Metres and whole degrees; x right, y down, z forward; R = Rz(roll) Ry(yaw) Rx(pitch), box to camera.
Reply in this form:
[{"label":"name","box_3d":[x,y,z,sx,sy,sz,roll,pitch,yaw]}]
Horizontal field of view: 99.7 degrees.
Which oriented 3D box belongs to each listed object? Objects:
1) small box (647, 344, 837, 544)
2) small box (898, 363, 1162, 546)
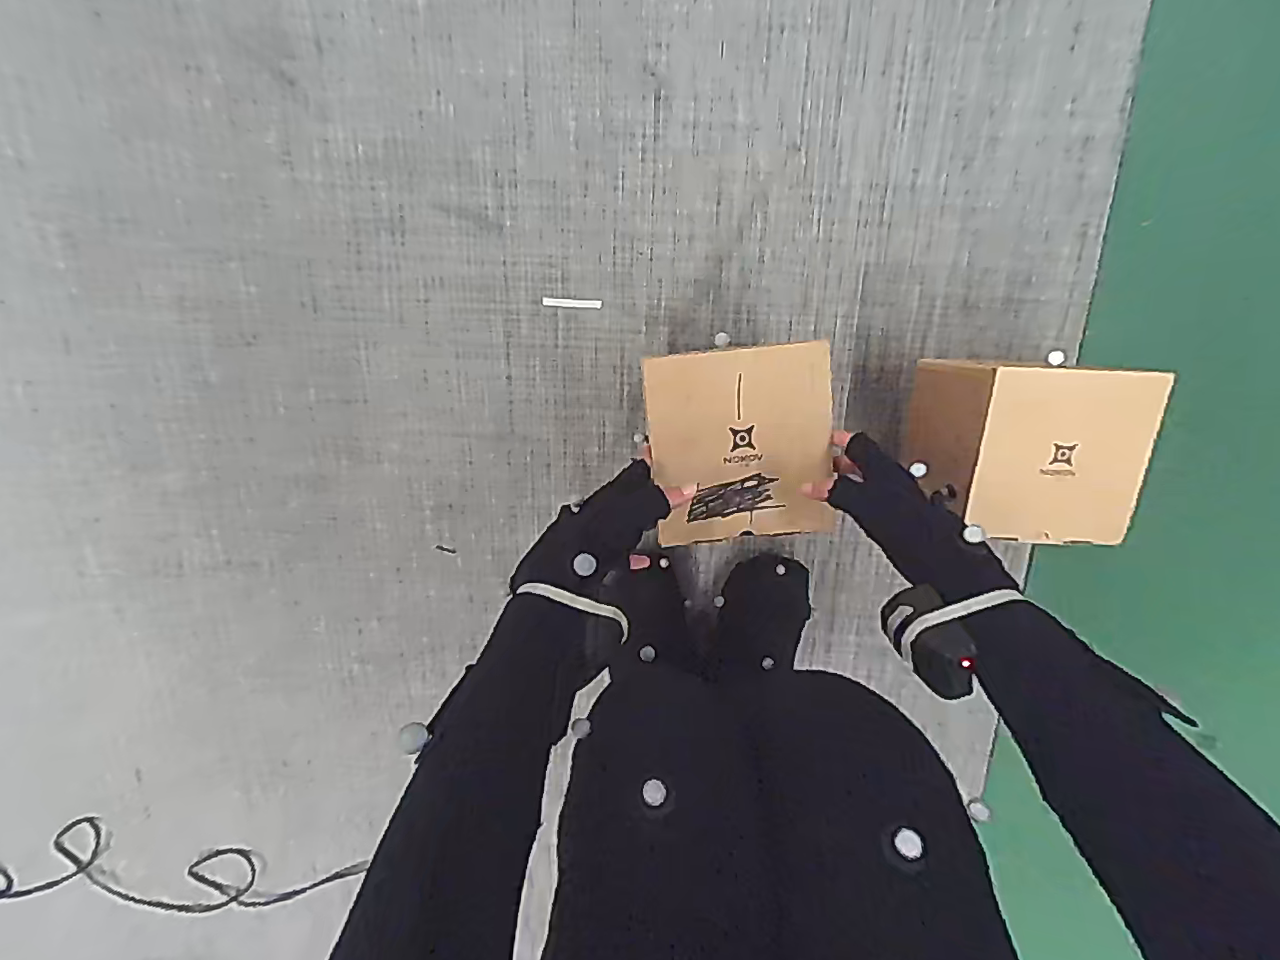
[{"label":"small box","box_3d":[0.095,-0.047,0.565,0.168,0.176,0.179,-5,102,1]},{"label":"small box","box_3d":[0.418,-0.040,0.617,0.168,0.176,0.179,3,105,2]}]
